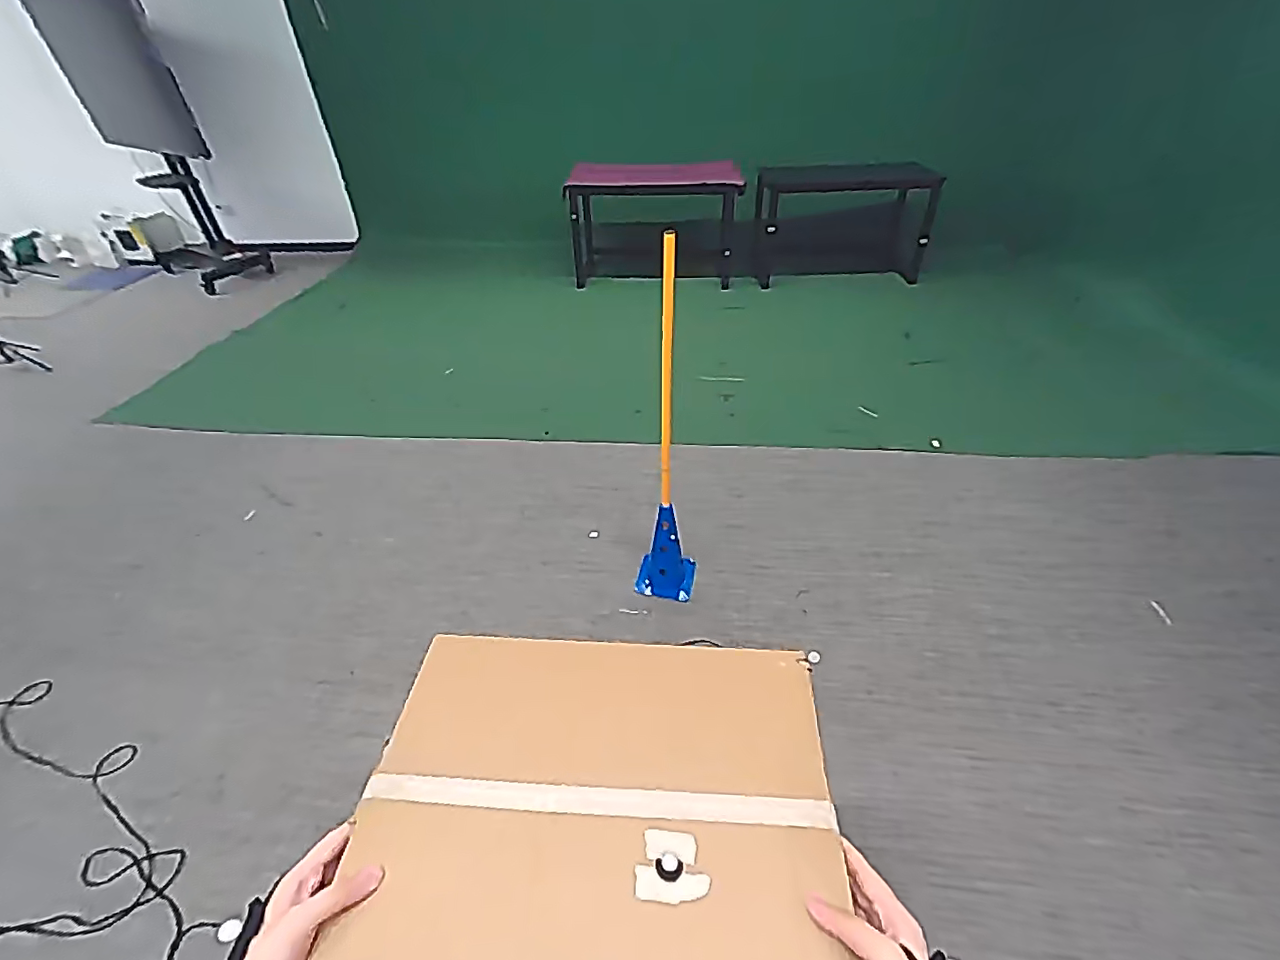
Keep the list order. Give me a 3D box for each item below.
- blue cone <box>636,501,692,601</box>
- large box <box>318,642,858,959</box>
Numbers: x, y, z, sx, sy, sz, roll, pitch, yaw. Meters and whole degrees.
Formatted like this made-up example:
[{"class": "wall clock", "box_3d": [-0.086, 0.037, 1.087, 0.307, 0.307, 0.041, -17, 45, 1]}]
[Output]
[{"class": "blue cone", "box_3d": [0.086, 0.234, 1.889, 0.193, 0.380, 0.192, 8, 39, 12]}, {"class": "large box", "box_3d": [-0.032, 0.397, 0.572, 0.408, 0.320, 0.320, 2, 41, 4]}]
